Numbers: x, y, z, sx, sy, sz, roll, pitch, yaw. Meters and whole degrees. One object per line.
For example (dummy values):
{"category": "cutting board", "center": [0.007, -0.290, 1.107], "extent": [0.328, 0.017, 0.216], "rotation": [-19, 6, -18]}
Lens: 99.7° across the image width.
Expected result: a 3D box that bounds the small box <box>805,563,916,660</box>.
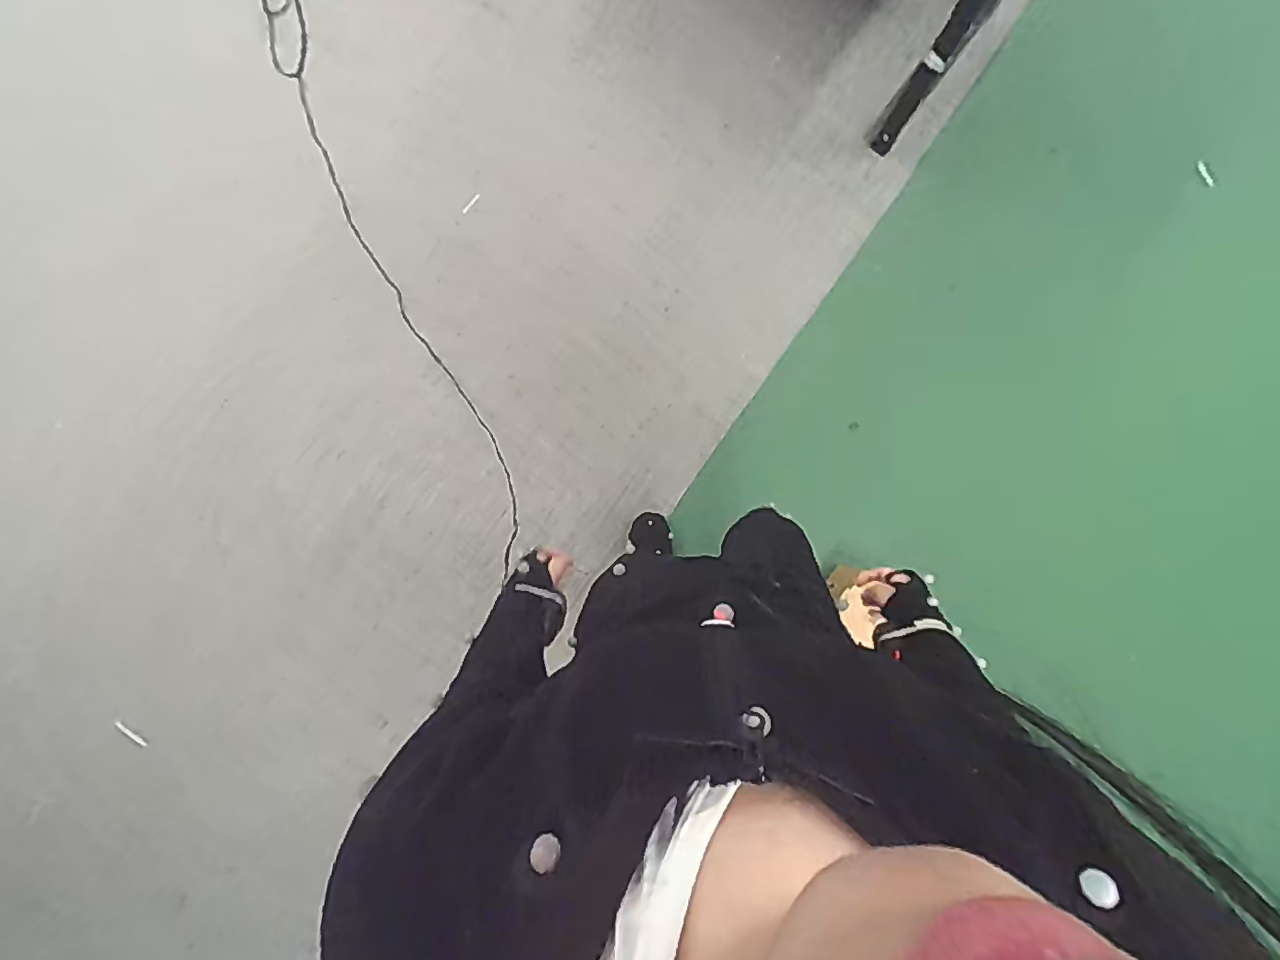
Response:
{"category": "small box", "center": [0.568, 0.334, 1.417], "extent": [0.179, 0.176, 0.168], "rotation": [38, 88, 3]}
